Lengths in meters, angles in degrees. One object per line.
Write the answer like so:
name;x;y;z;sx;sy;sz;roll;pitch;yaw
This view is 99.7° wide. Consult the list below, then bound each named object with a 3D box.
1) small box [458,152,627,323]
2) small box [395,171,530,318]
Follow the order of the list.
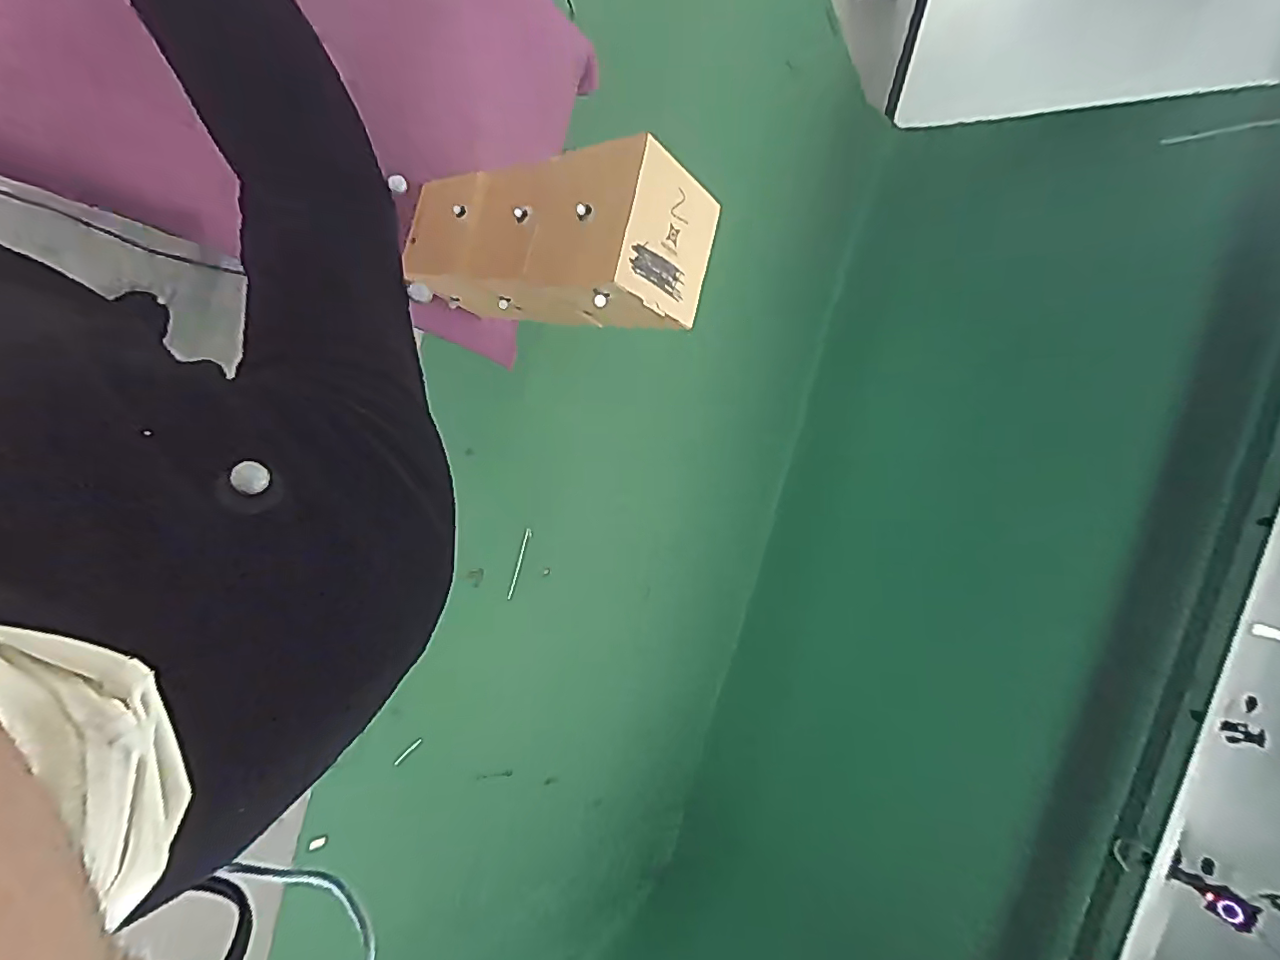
small box;-0.152;-0.360;0.829;0.168;0.176;0.179;16;91;-52
small box;-0.279;-0.395;0.925;0.179;0.176;0.168;15;91;-54
